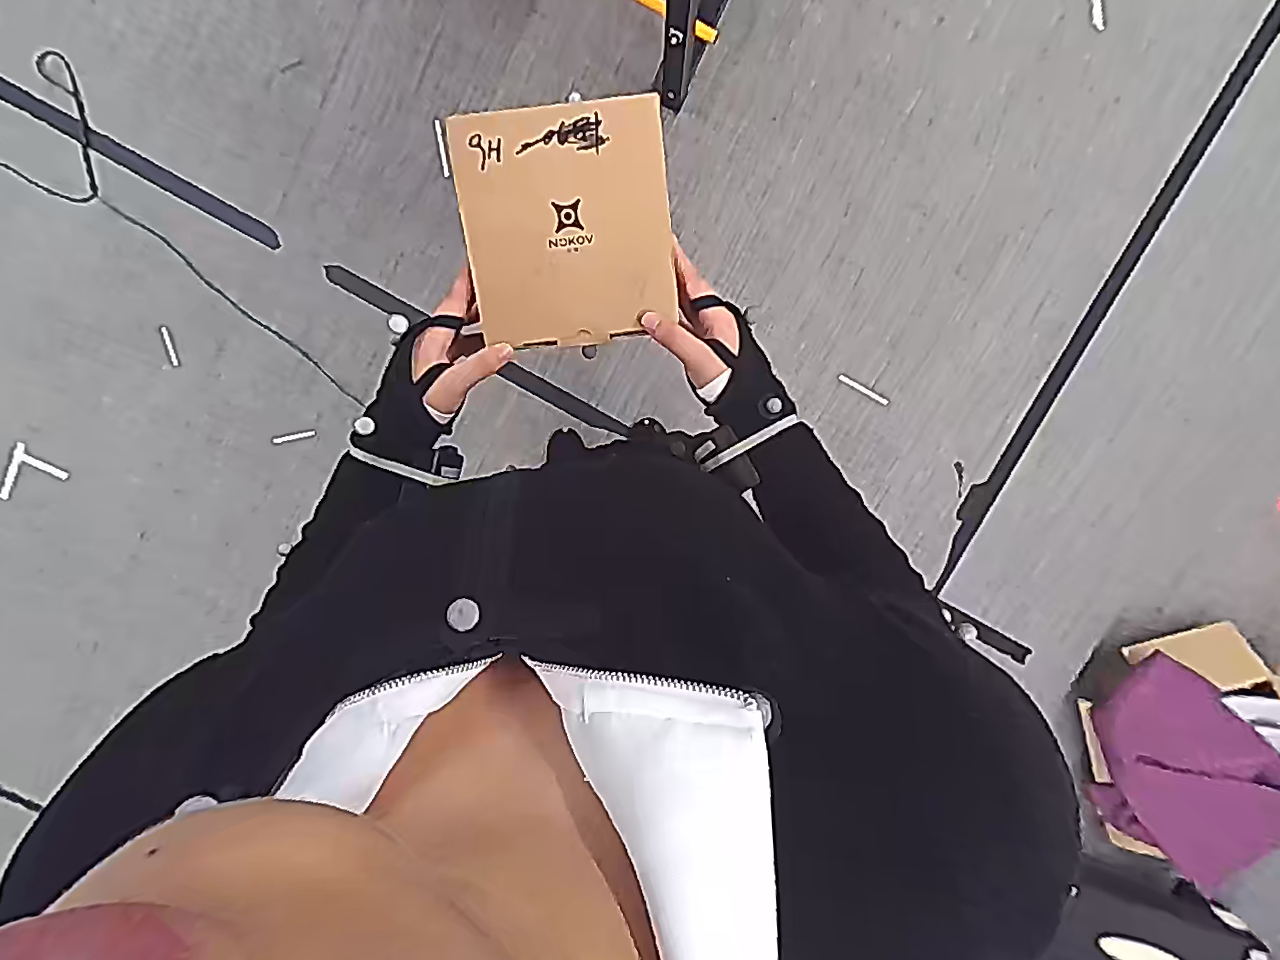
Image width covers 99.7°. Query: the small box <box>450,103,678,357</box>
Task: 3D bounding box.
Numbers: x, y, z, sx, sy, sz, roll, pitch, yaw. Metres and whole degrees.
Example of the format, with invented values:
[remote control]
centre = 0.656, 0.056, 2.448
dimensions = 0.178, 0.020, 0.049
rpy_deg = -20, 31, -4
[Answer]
[small box]
centre = -0.058, -0.218, 0.510
dimensions = 0.168, 0.176, 0.179
rpy_deg = -7, 106, -1
